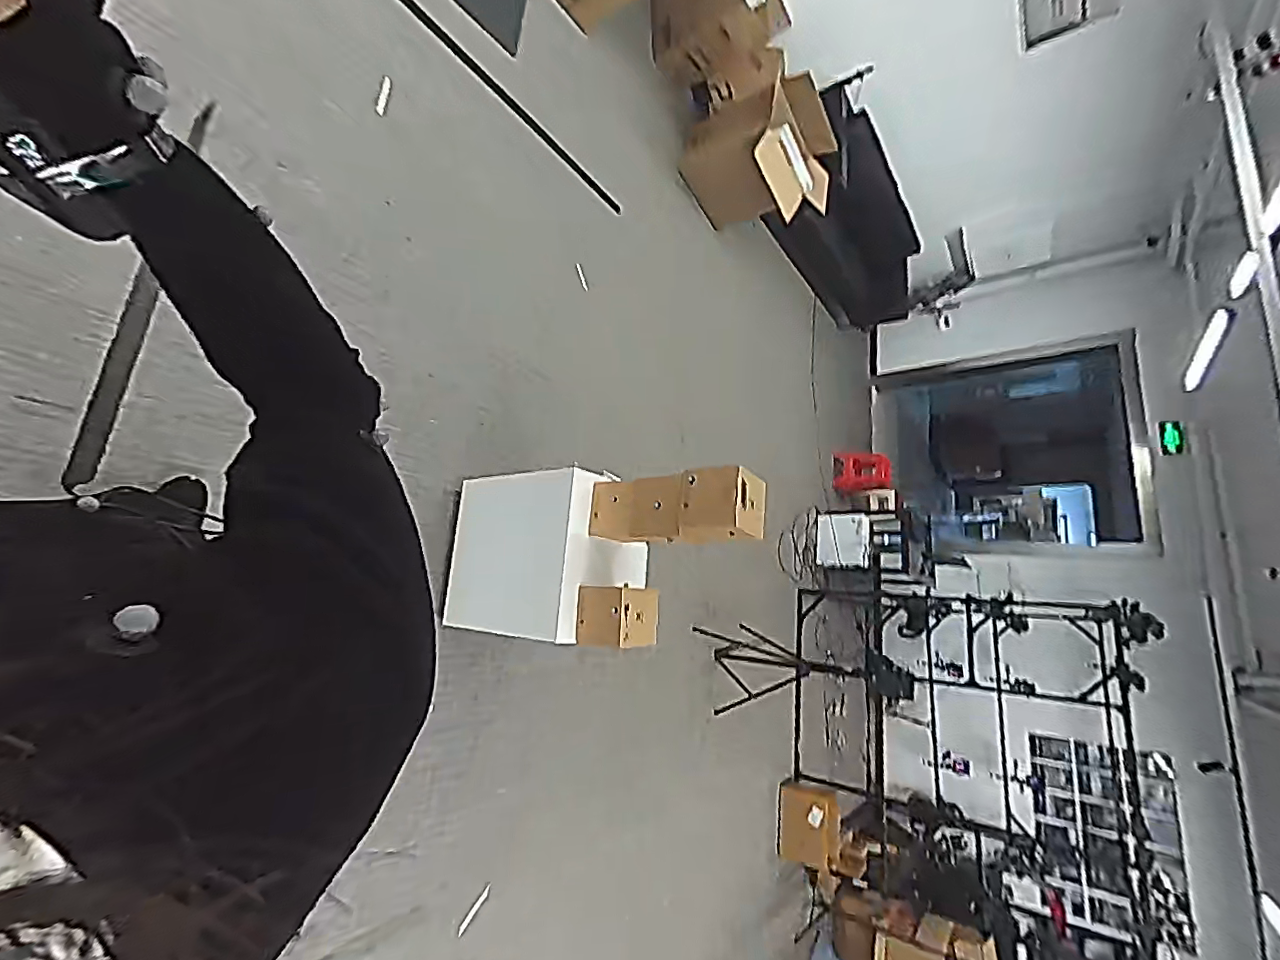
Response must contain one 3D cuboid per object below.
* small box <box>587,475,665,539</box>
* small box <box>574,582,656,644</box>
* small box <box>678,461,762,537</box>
[{"bbox_3d":[-0.044,0.090,1.667,0.179,0.176,0.168,21,70,-51],"label":"small box"},{"bbox_3d":[-0.072,0.388,1.590,0.179,0.176,0.168,17,71,-52],"label":"small box"},{"bbox_3d":[0.218,0.059,1.470,0.179,0.176,0.168,26,65,-50],"label":"small box"}]
